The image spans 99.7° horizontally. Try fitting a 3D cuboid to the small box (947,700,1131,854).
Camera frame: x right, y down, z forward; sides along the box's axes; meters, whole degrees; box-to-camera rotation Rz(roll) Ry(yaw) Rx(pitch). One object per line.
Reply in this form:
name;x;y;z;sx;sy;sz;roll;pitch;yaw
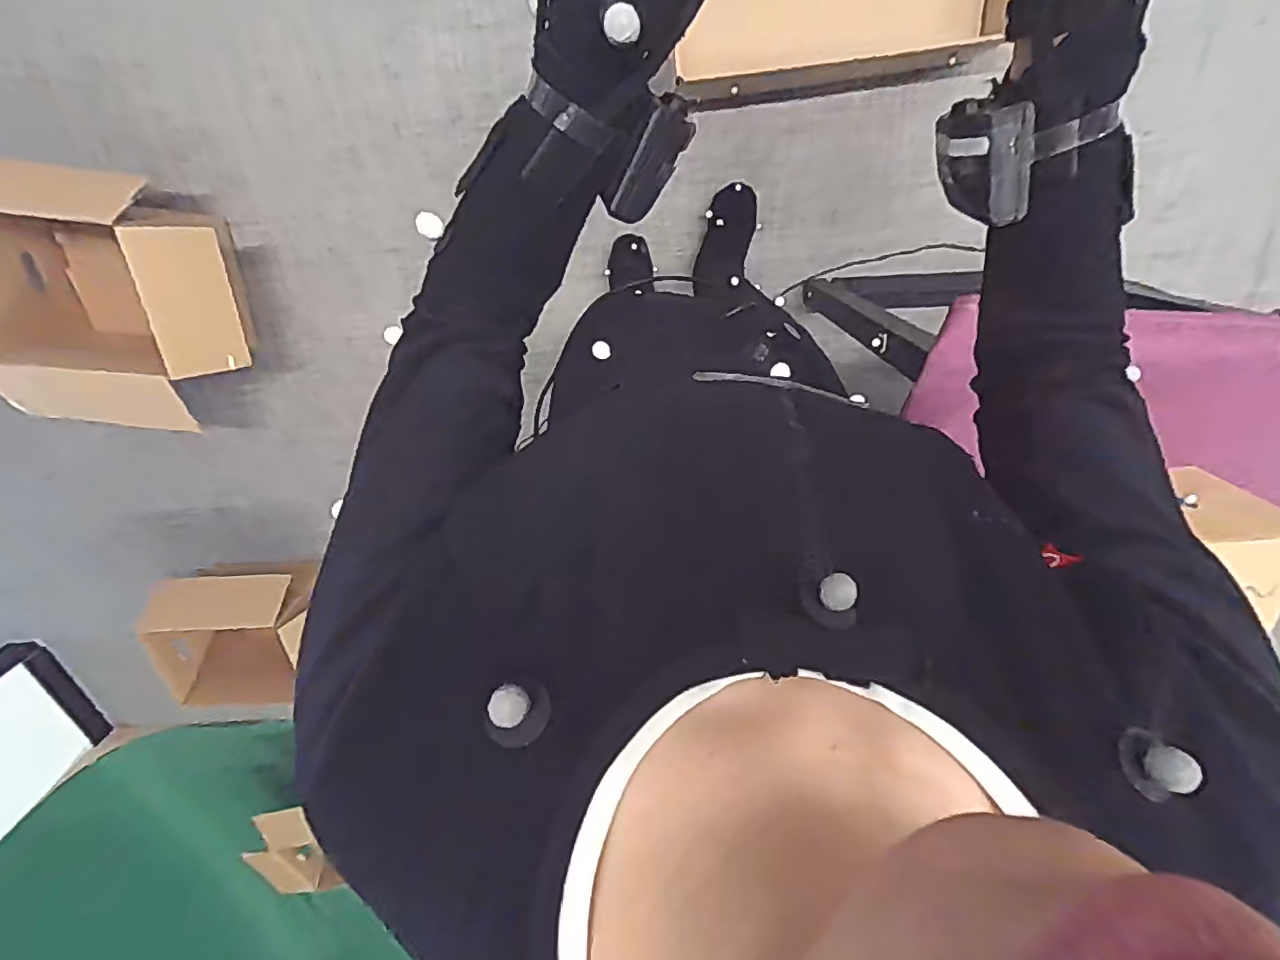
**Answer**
small box;0.655;0.498;0.916;0.179;0.176;0.168;-5;118;3
